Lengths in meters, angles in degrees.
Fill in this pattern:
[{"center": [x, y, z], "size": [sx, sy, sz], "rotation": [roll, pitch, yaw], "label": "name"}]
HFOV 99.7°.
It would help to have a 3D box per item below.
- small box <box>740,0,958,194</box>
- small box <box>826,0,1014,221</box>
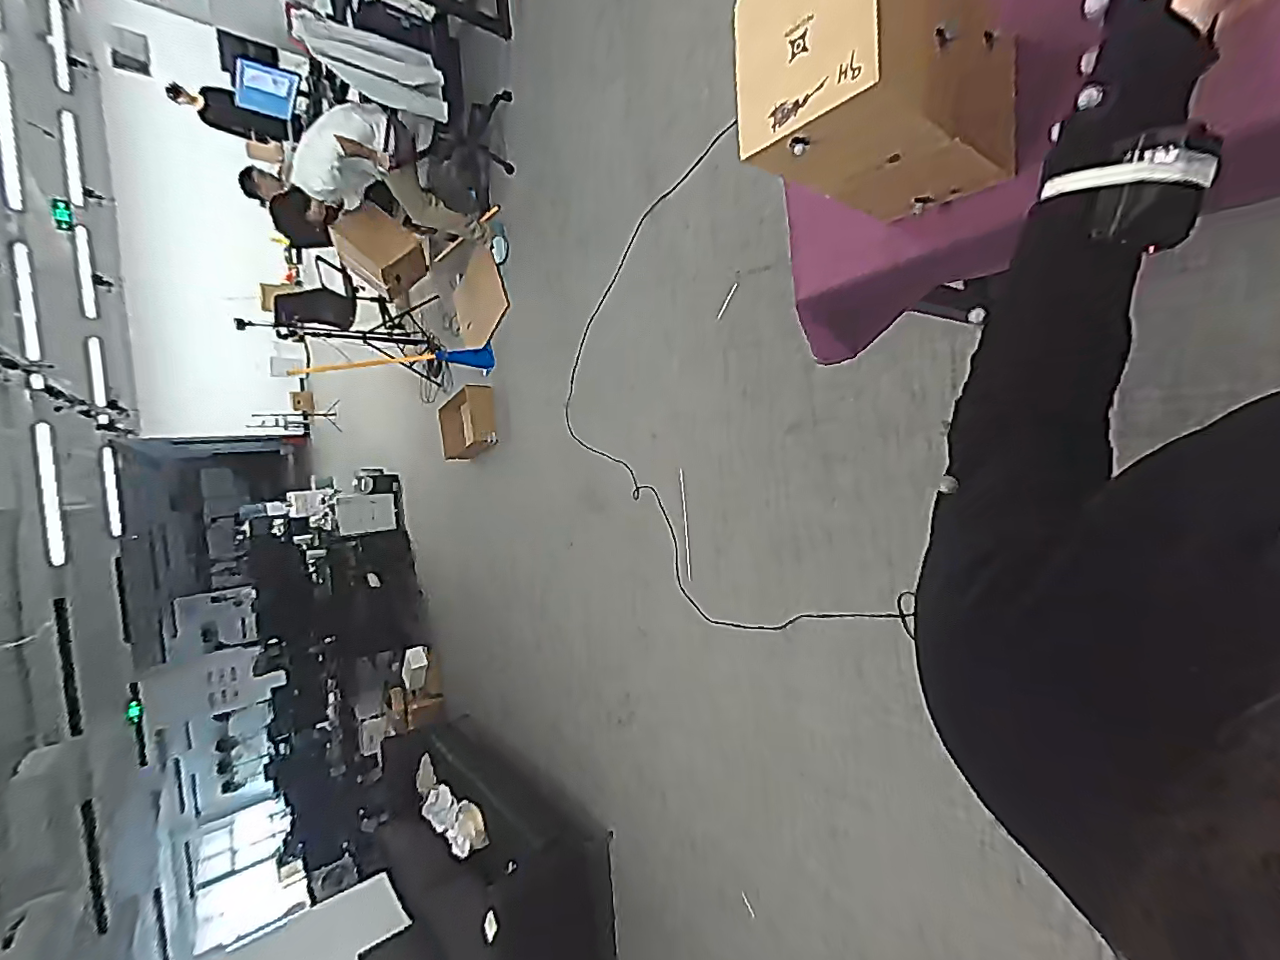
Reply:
[{"center": [0.229, -0.452, 0.598], "size": [0.168, 0.176, 0.179], "rotation": [3, 96, 53], "label": "small box"}, {"center": [0.359, -0.465, 0.699], "size": [0.168, 0.176, 0.179], "rotation": [3, 97, 52], "label": "small box"}]
